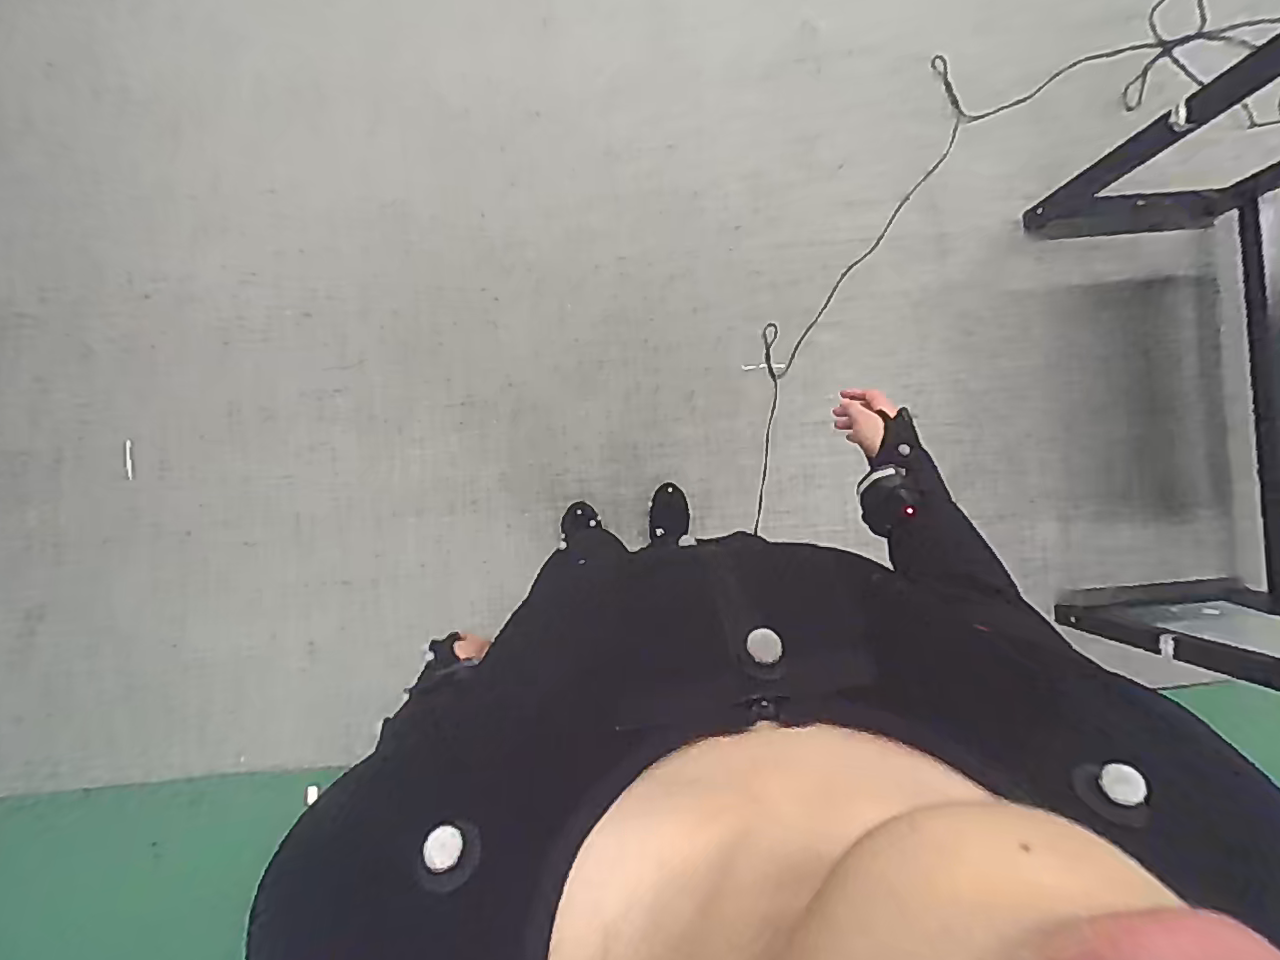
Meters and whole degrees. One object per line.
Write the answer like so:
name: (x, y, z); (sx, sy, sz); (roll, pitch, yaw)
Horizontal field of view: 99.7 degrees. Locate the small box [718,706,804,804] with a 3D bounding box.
small box: (0.298, 0.678, 1.350); (0.179, 0.176, 0.168); (-2, 87, -2)
